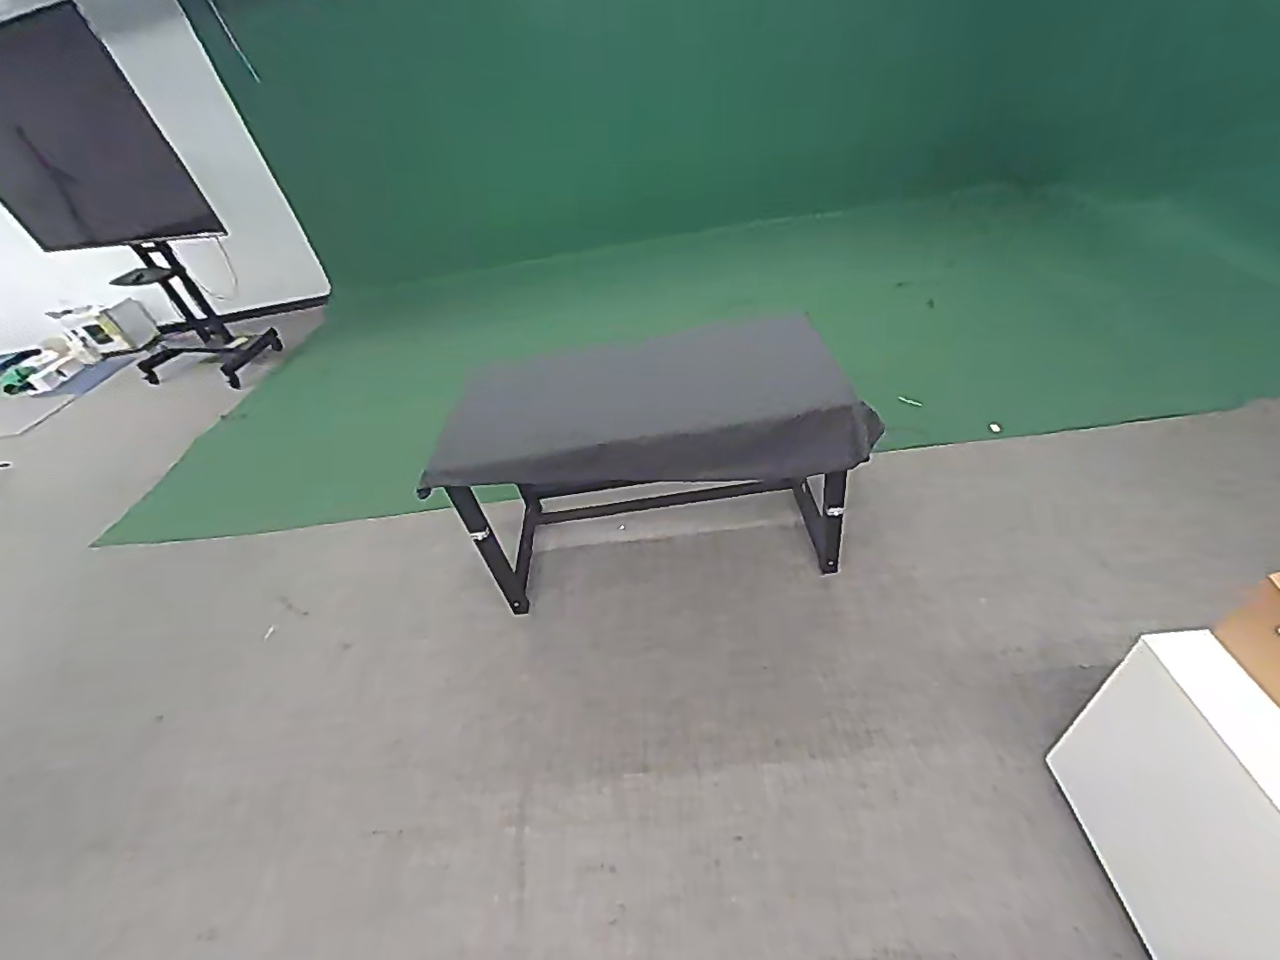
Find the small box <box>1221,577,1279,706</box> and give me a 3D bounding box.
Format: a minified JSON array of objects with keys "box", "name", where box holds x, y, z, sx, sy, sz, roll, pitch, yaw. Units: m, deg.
[{"box":[1.080,0.260,0.829,0.168,0.176,0.179,-9,43,5],"name":"small box"}]
